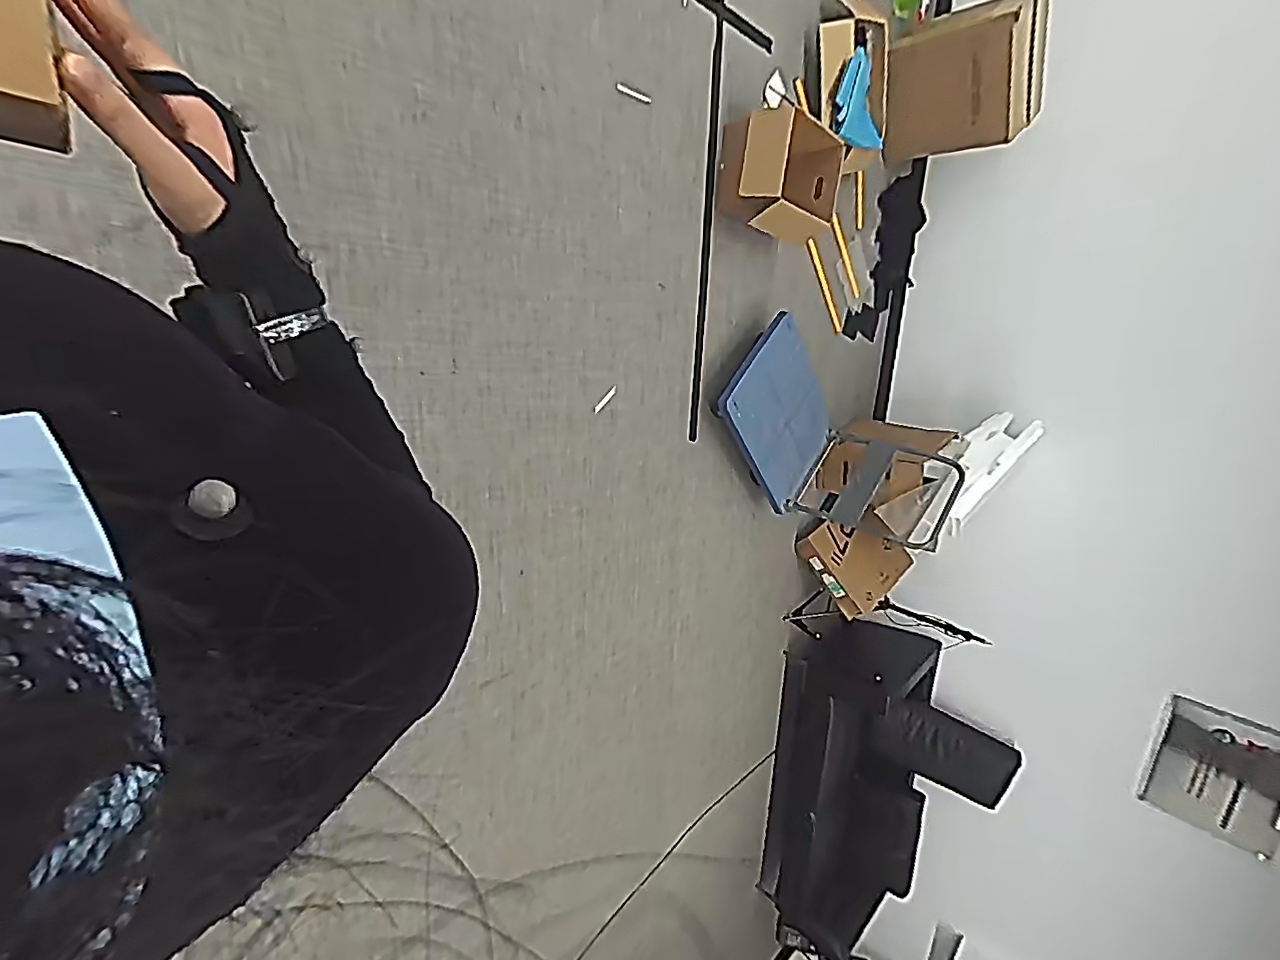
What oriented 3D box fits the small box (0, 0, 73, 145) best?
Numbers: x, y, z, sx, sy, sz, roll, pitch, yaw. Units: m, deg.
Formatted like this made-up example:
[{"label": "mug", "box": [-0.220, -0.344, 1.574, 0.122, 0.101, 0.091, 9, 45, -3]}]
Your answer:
[{"label": "small box", "box": [-0.365, -0.267, 0.226, 0.168, 0.176, 0.179, -7, 111, -45]}]
